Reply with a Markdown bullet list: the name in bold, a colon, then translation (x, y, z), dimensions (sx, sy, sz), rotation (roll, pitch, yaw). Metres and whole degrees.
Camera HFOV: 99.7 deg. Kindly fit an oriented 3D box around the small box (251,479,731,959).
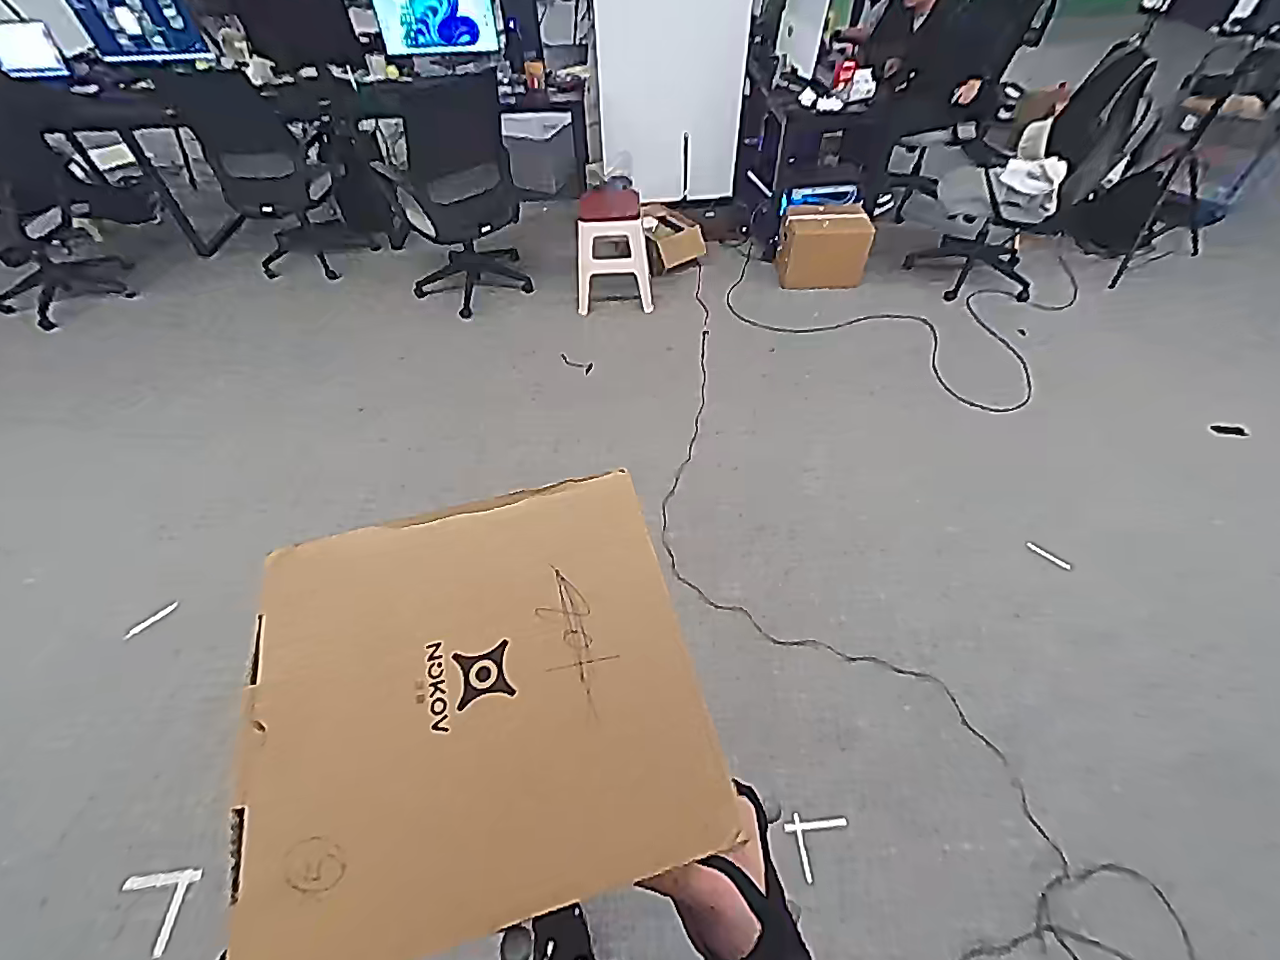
- **small box**: translation (-0.069, 0.128, 0.300), dimensions (0.179, 0.176, 0.168), rotation (-13, 58, -11)
